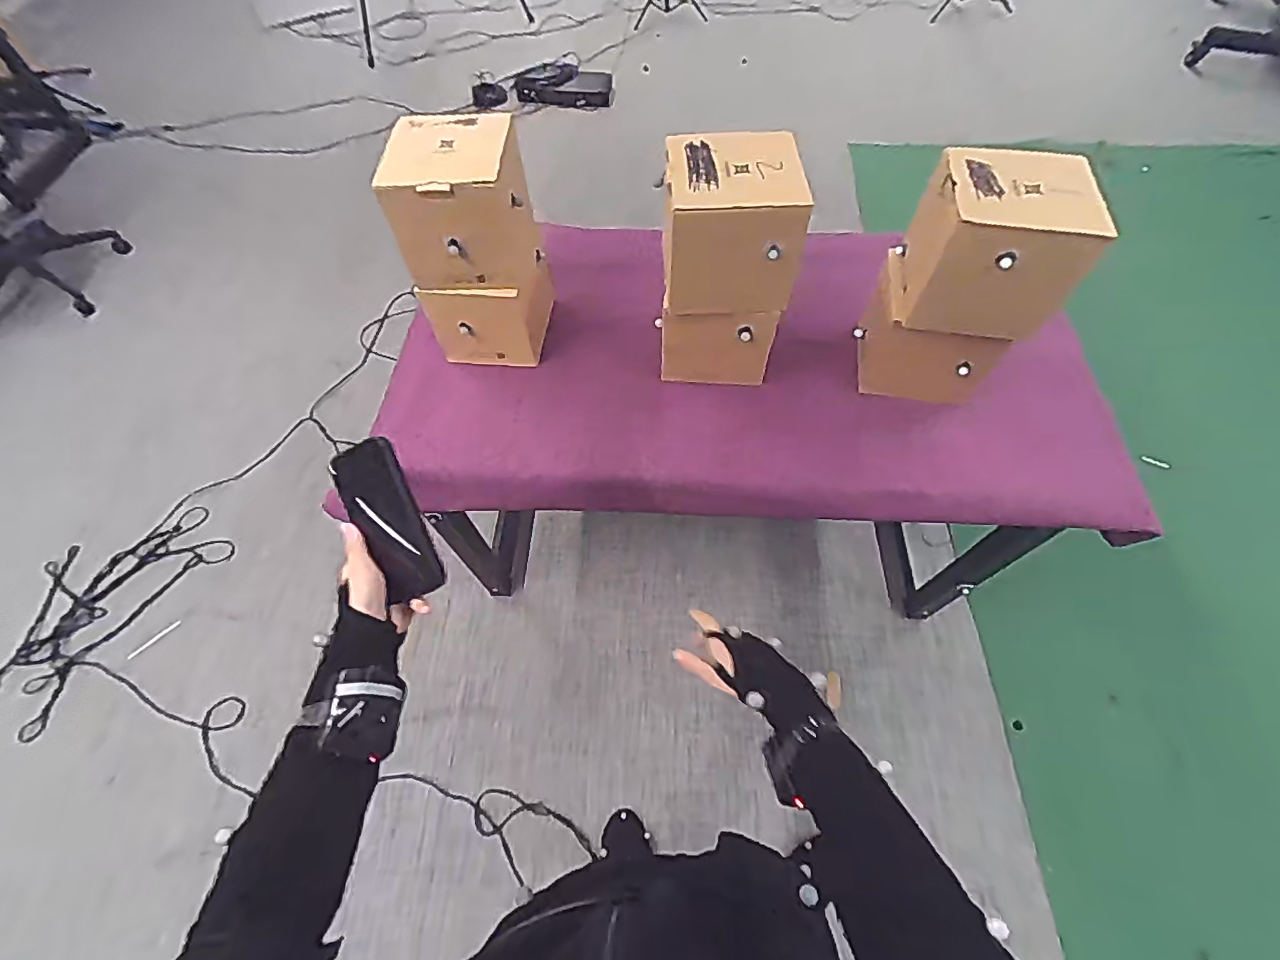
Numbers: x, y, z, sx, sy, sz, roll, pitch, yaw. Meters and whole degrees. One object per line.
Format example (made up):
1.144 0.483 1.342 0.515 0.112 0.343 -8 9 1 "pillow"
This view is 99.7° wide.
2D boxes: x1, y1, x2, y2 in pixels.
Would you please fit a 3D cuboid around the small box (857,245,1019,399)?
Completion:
0.468 -0.249 0.875 0.179 0.176 0.168 8 60 8 "small box"

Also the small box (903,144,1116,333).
0.470 -0.319 0.727 0.179 0.176 0.168 8 60 7 "small box"

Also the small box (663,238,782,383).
0.131 -0.278 0.906 0.179 0.176 0.168 3 59 4 "small box"

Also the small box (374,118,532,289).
-0.263 -0.404 0.809 0.168 0.176 0.179 -1 60 1 "small box"

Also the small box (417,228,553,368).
-0.257 -0.313 0.946 0.168 0.176 0.179 3 59 4 "small box"
